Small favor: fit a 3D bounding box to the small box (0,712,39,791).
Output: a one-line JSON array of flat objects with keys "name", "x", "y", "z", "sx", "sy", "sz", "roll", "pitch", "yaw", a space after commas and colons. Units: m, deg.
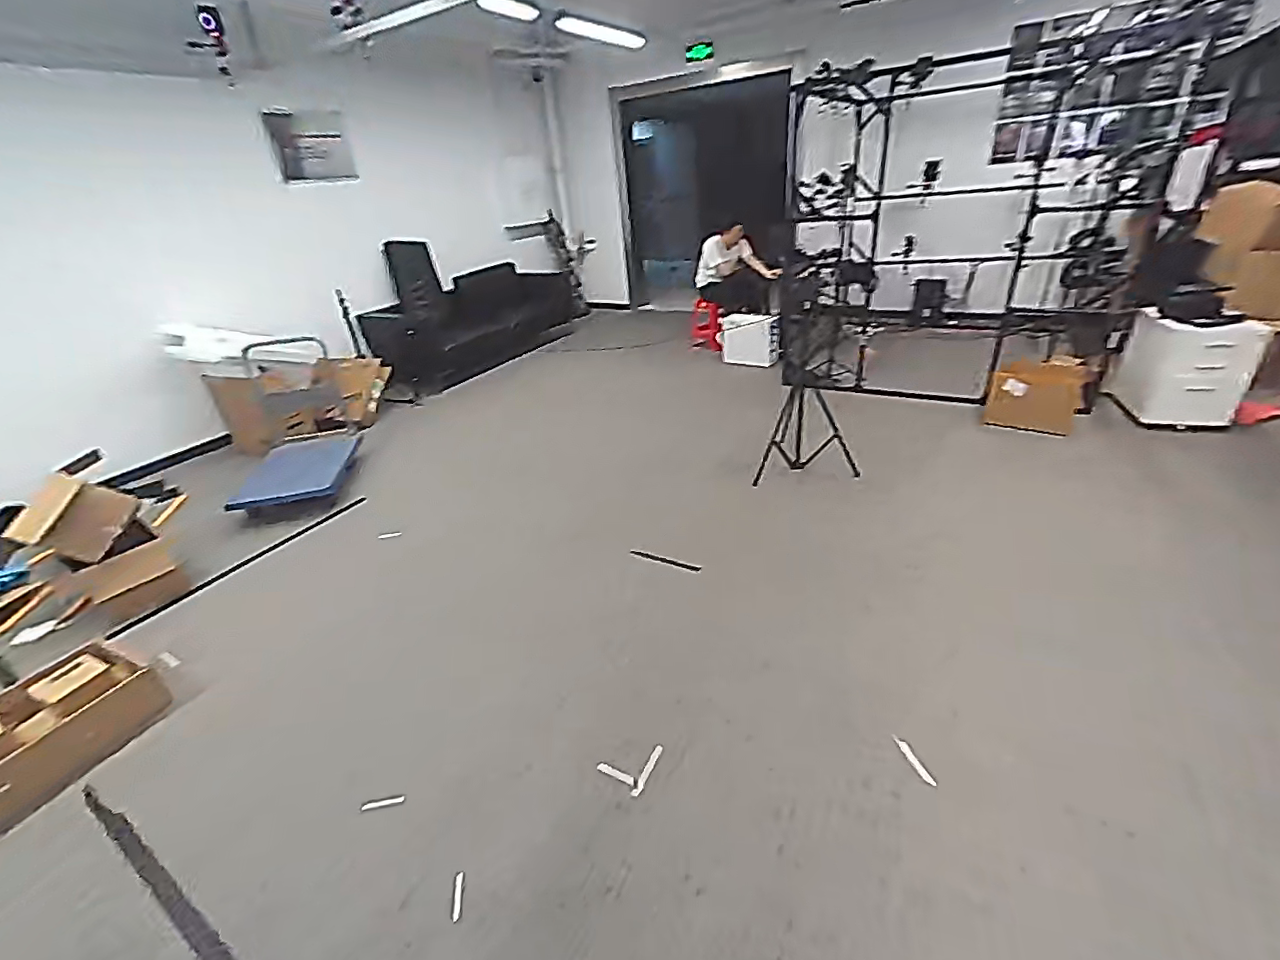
[{"name": "small box", "x": -2.107, "y": 0.898, "z": 1.743, "sx": 0.179, "sy": 0.176, "sz": 0.168, "roll": 15, "pitch": 34, "yaw": 34}]
